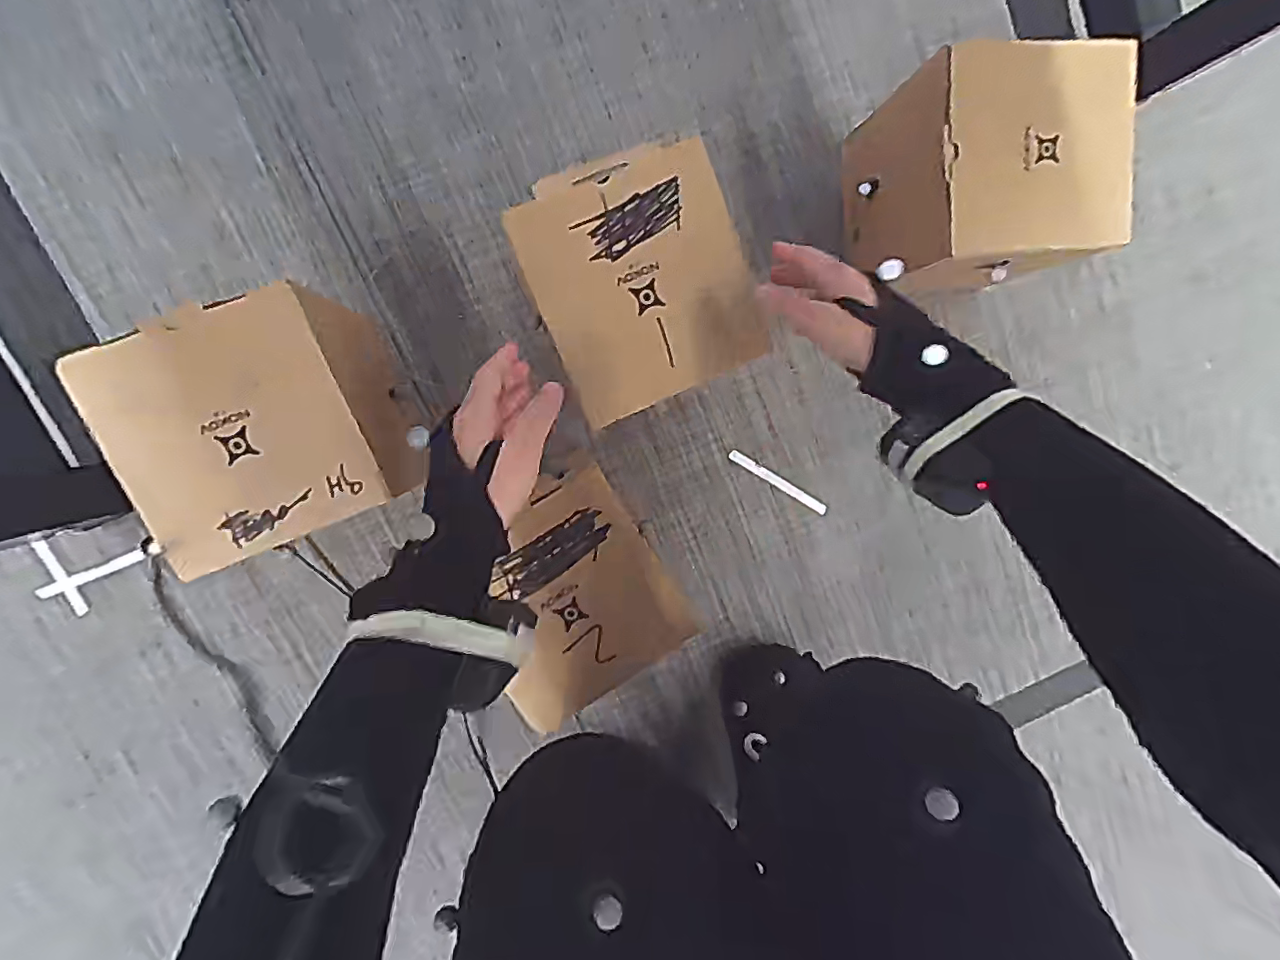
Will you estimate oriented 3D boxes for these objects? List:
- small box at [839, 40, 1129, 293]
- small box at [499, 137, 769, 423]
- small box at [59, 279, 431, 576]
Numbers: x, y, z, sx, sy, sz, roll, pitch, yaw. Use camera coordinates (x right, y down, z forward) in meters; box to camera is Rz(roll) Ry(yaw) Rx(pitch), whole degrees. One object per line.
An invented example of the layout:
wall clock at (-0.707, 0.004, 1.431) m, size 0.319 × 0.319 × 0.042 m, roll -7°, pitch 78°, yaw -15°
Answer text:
small box at (0.319, -0.288, 0.532) m, size 0.179 × 0.176 × 0.168 m, roll -7°, pitch 98°, yaw -7°
small box at (-0.013, -0.162, 0.496) m, size 0.168 × 0.176 × 0.179 m, roll -24°, pitch 101°, yaw -5°
small box at (-0.306, -0.044, 0.467) m, size 0.168 × 0.176 × 0.179 m, roll -21°, pitch 98°, yaw -6°
